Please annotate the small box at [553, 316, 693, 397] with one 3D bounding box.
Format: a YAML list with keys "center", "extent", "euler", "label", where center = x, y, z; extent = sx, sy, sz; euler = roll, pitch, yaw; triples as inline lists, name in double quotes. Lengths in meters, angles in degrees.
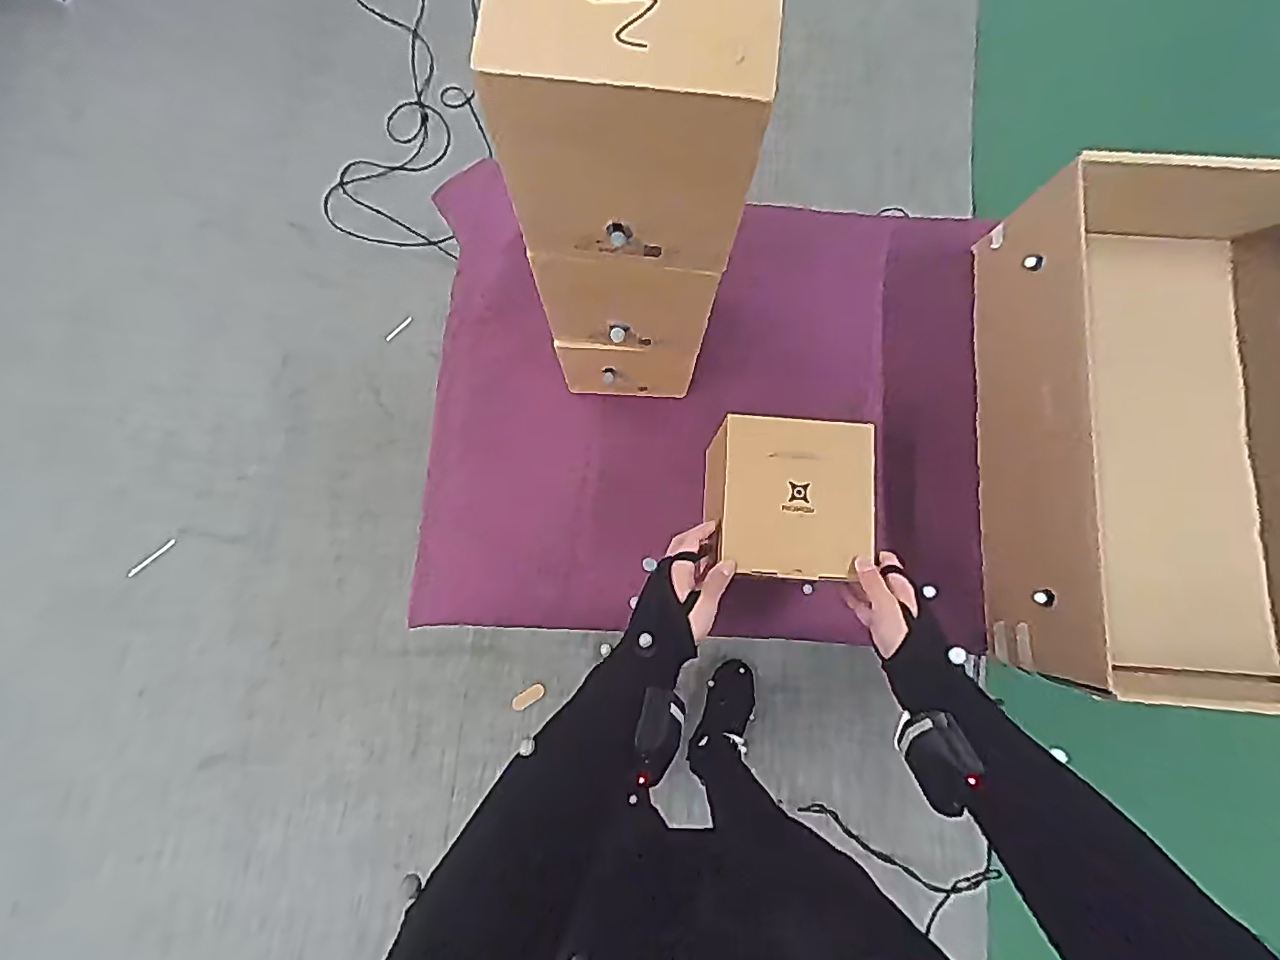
- center: [-0.014, -0.217, 0.707]
  extent: [0.168, 0.176, 0.179]
  euler: [3, 79, 0]
  label: "small box"

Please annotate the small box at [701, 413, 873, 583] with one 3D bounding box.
- center: [0.168, 0.031, 0.662]
  extent: [0.168, 0.176, 0.179]
  euler: [5, 79, 0]
  label: "small box"

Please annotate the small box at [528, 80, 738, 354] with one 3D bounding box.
- center: [-0.005, -0.249, 0.546]
  extent: [0.168, 0.176, 0.179]
  euler: [7, 80, 1]
  label: "small box"
